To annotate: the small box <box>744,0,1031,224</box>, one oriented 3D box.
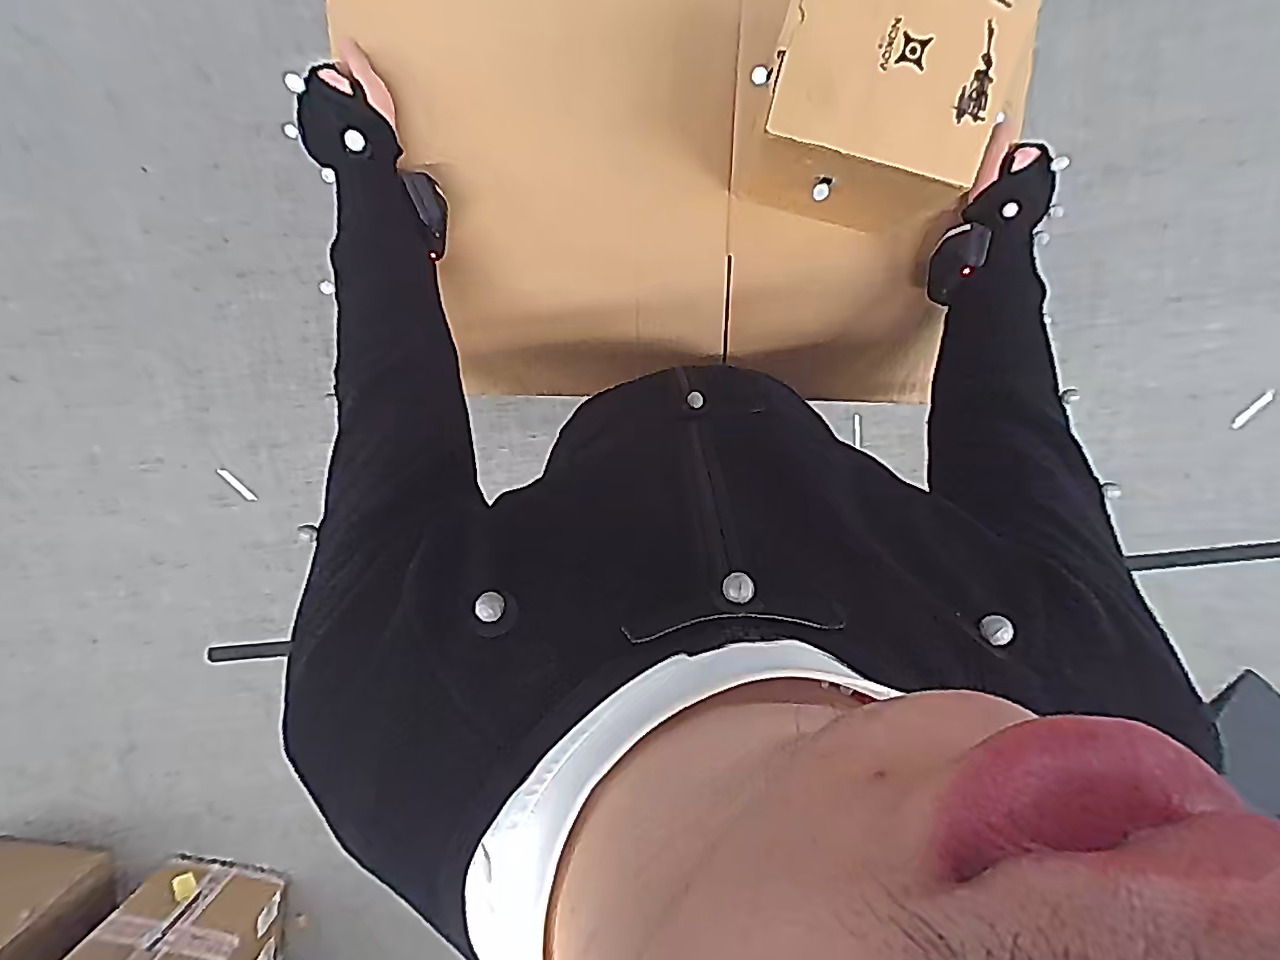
[{"bbox_3d":[0.206,-0.356,0.497,0.179,0.176,0.168,15,103,0],"label":"small box"}]
